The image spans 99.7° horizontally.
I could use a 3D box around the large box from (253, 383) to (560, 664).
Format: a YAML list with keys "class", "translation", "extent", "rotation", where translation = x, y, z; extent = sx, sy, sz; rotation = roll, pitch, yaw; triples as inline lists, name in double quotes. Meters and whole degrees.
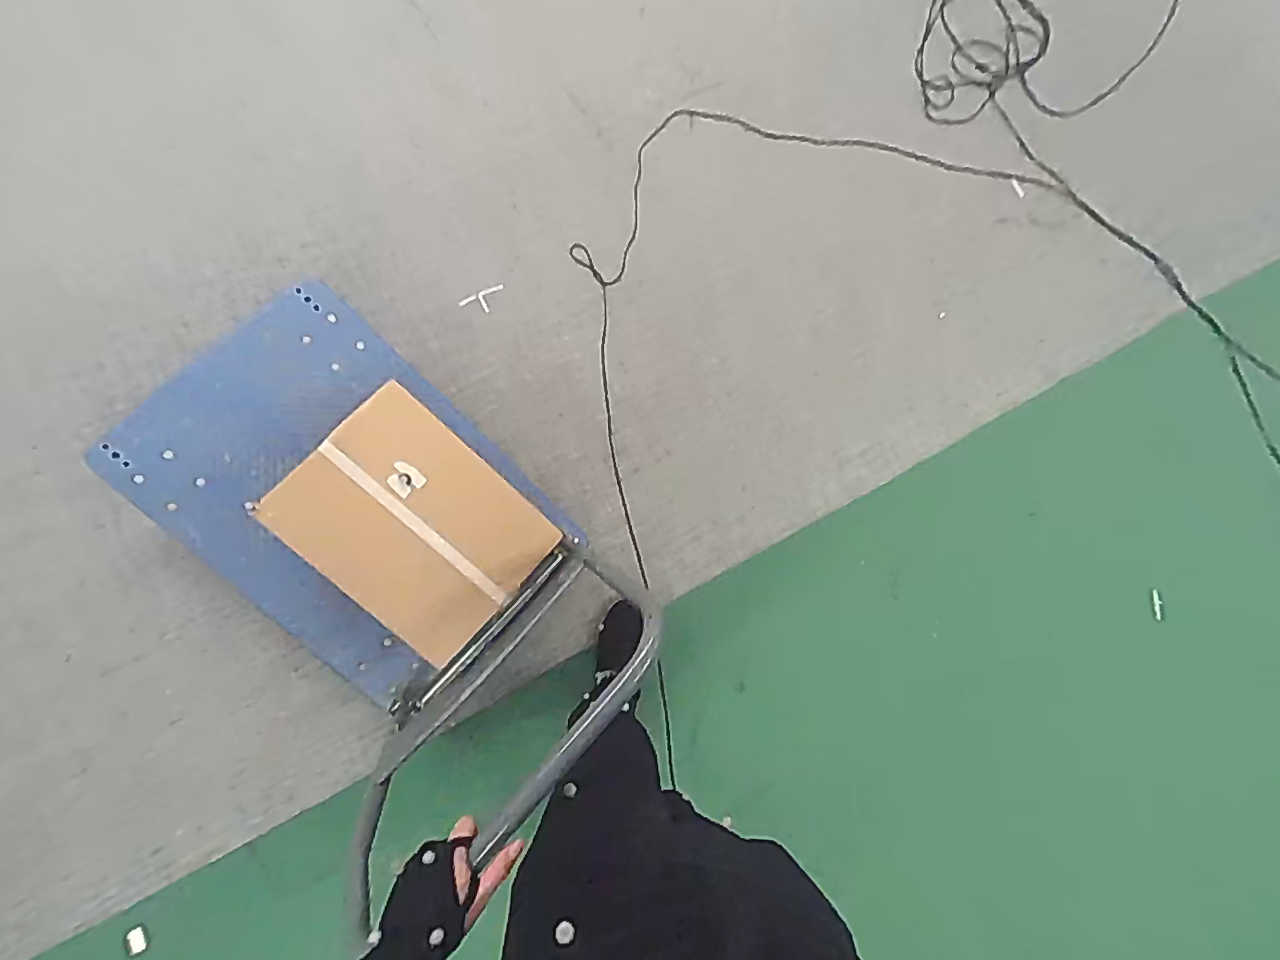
- class: "large box"
  translation: [-0.413, 0.081, 1.066]
  extent: [0.408, 0.320, 0.320]
  rotation: [44, 79, -8]
